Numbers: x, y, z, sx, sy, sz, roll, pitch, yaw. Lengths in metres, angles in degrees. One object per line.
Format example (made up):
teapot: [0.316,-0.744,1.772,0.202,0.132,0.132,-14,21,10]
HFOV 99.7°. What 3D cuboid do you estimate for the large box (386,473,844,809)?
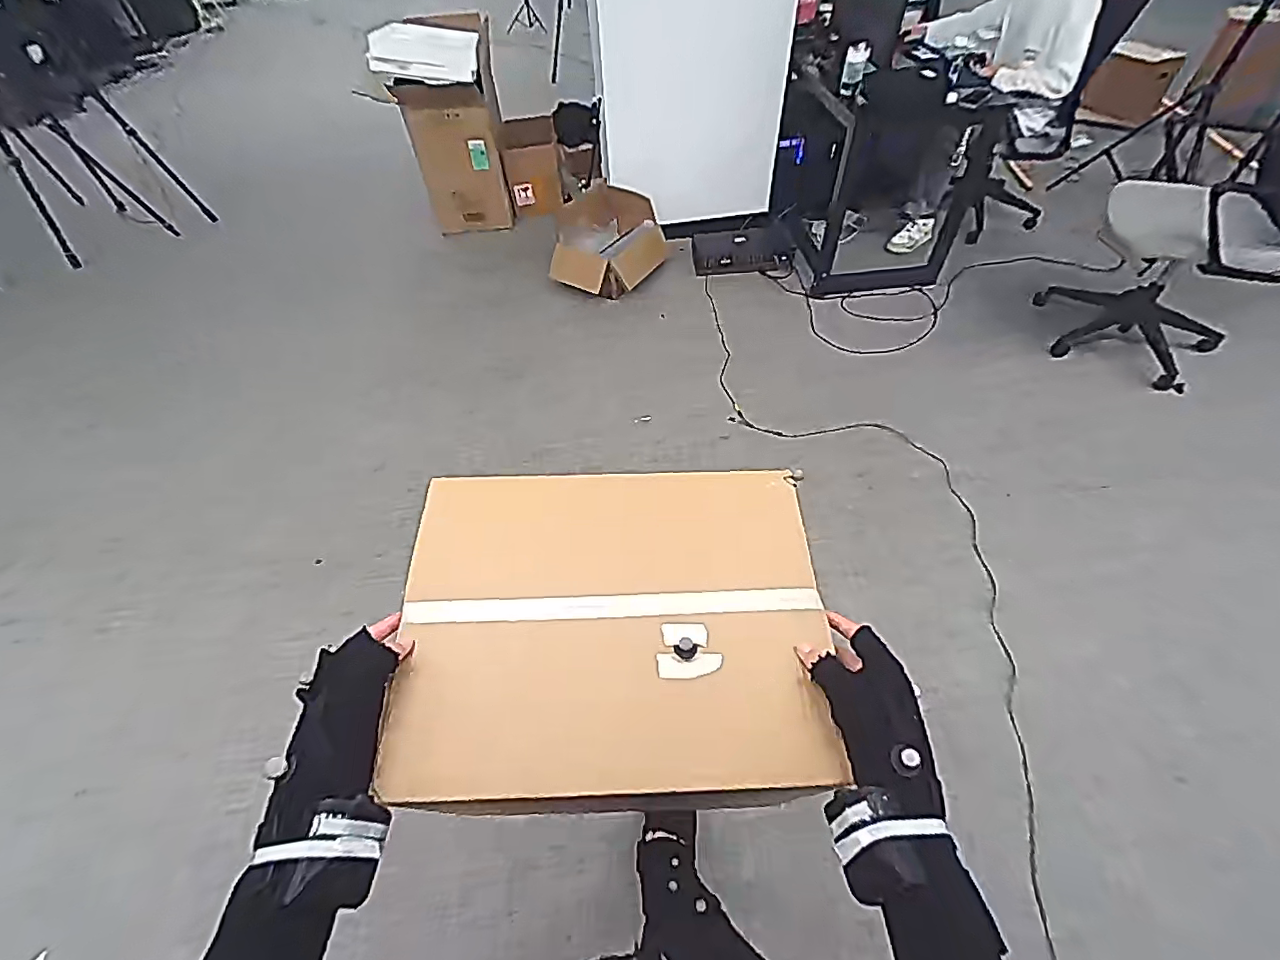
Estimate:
large box: [-0.028,0.208,0.666,0.408,0.320,0.320,-1,56,-1]
